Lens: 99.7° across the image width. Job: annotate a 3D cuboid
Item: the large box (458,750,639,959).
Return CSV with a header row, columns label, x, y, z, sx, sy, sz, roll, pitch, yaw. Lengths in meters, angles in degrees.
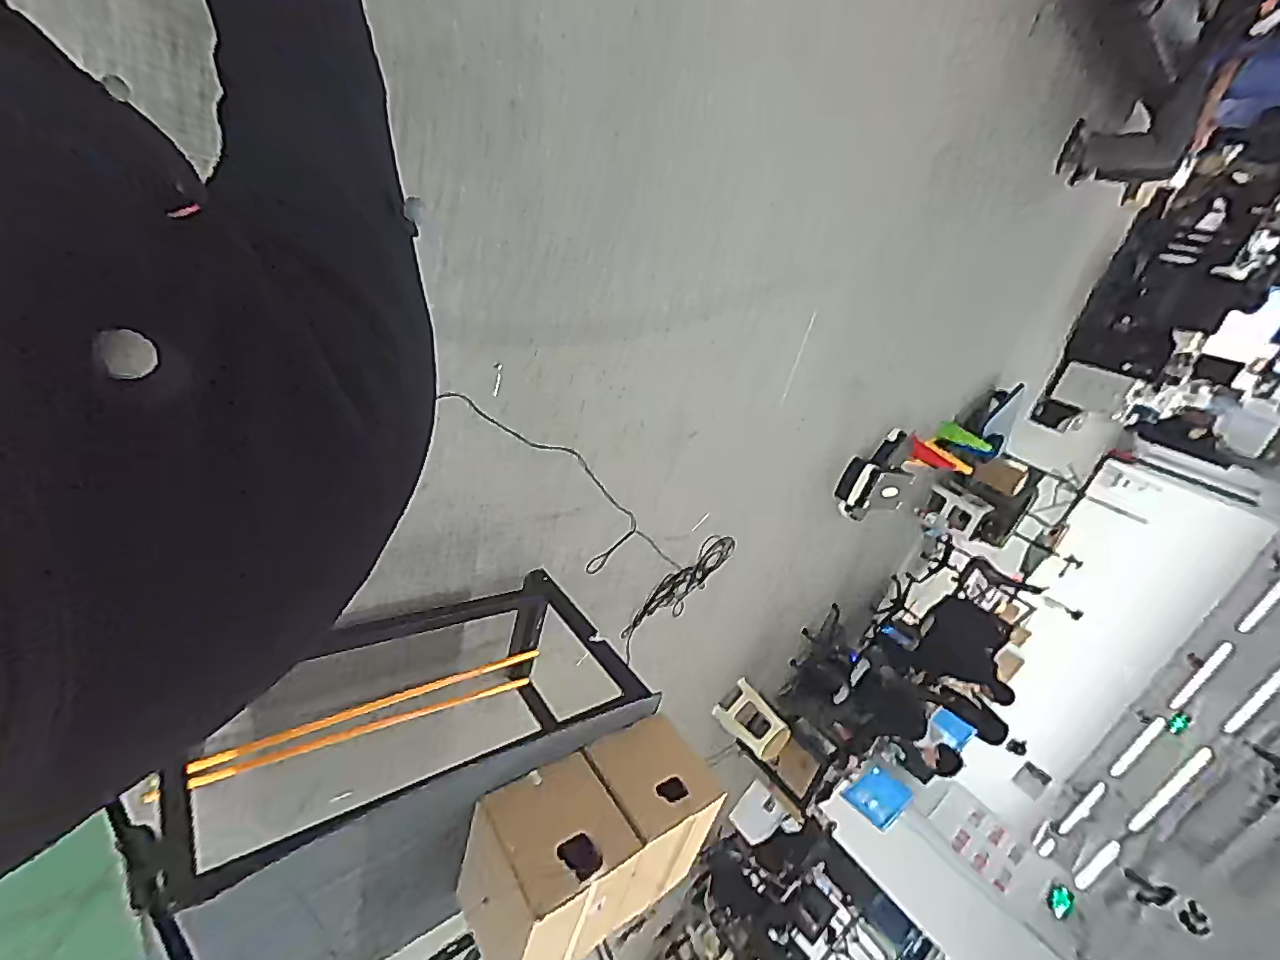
label,x,y,z,sx,sy,sz,roll,pitch,yaw
large box,-0.252,1.008,1.401,0.320,0.320,0.408,-6,121,-42
